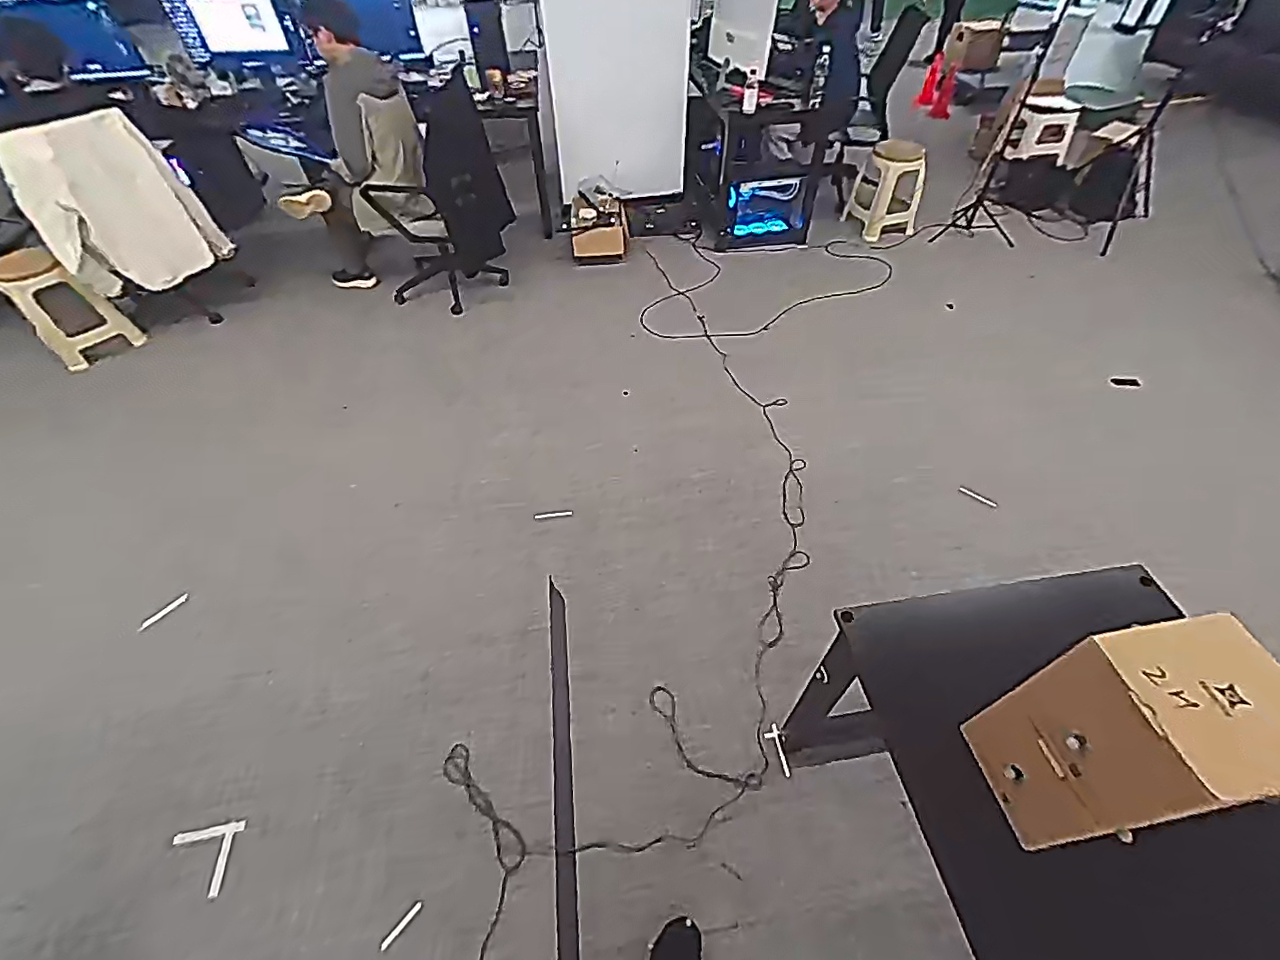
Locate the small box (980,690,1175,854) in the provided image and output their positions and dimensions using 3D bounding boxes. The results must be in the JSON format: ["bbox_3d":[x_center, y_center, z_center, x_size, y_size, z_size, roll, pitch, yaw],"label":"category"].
[{"bbox_3d":[0.596,0.381,0.724,0.179,0.176,0.168,-9,50,-5],"label":"small box"}]

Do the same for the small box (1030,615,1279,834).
[{"bbox_3d":[0.595,0.273,0.599,0.179,0.176,0.168,-8,49,-5],"label":"small box"}]
